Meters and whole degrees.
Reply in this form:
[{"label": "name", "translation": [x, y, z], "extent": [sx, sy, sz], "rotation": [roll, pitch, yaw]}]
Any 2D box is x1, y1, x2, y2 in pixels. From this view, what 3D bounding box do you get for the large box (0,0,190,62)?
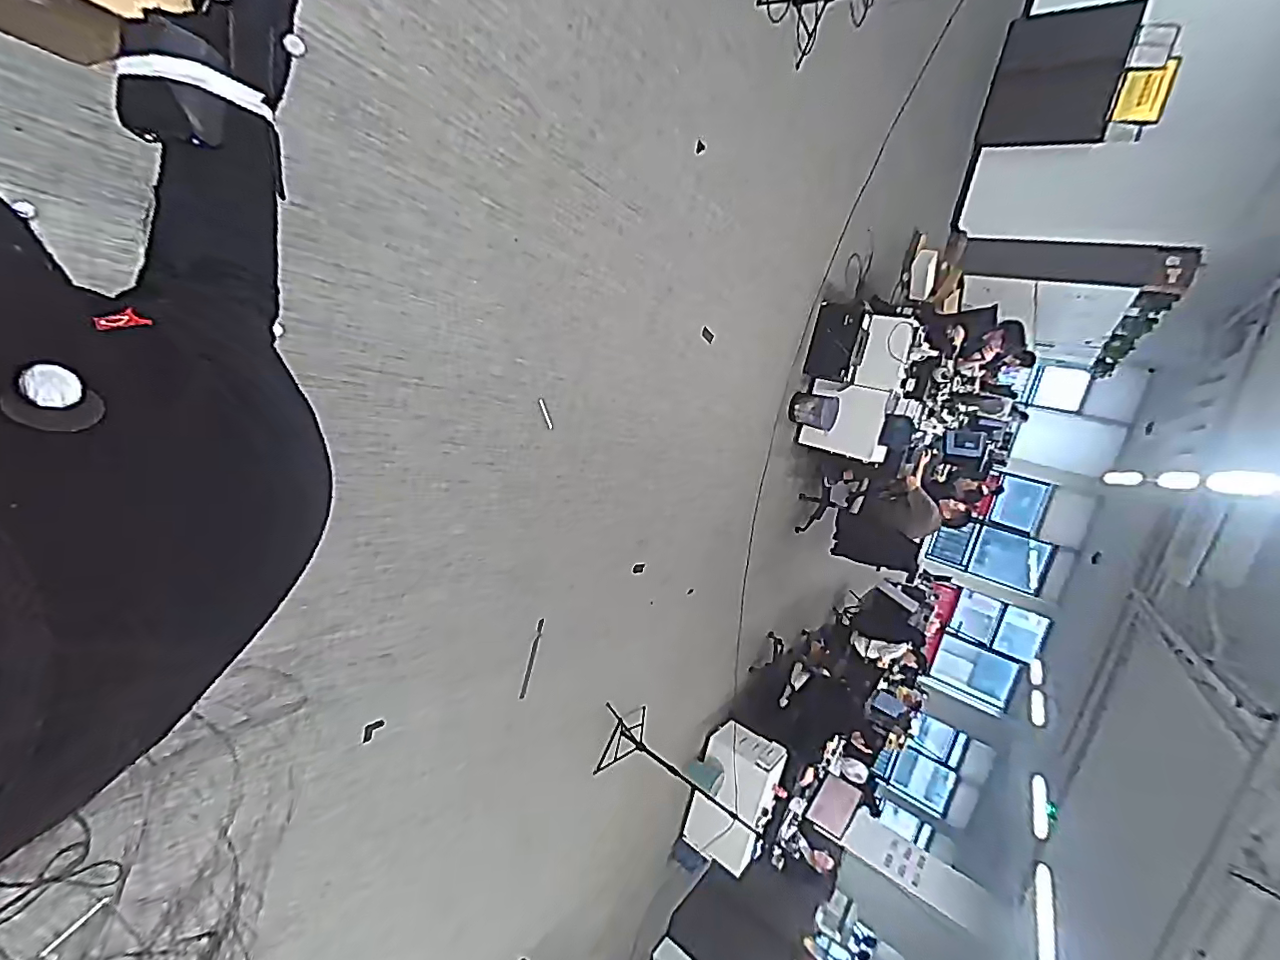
[{"label": "large box", "translation": [-0.508, -0.487, 0.258], "extent": [0.408, 0.320, 0.320], "rotation": [-3, 115, -56]}]
